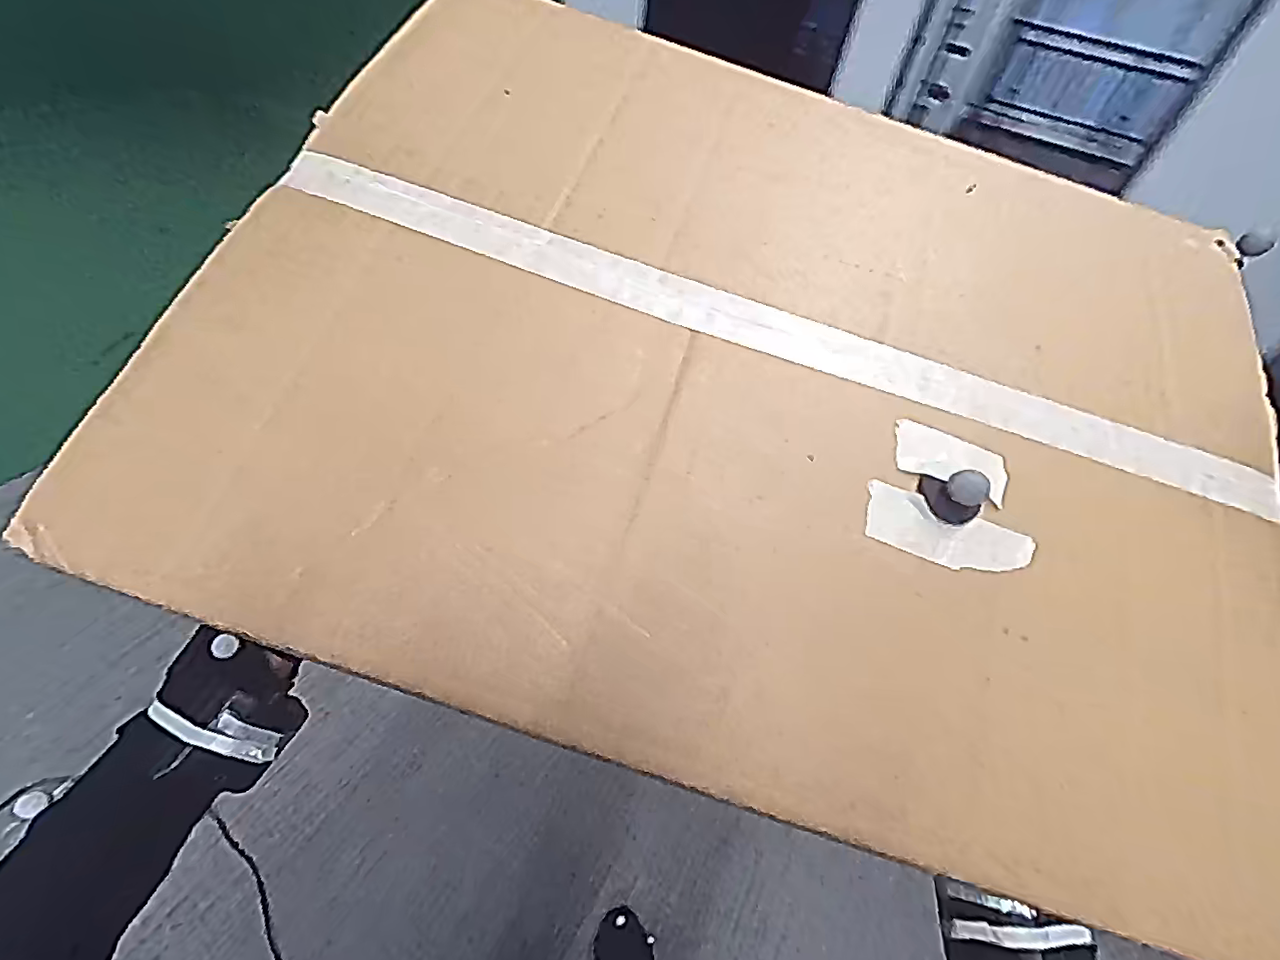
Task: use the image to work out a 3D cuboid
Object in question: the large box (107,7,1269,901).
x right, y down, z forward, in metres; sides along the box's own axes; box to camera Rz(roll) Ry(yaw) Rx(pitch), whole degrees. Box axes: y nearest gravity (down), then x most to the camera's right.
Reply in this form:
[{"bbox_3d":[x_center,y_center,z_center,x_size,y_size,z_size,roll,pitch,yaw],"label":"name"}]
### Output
[{"bbox_3d":[0.039,-0.002,0.367,0.408,0.320,0.320,19,68,-1],"label":"large box"}]
